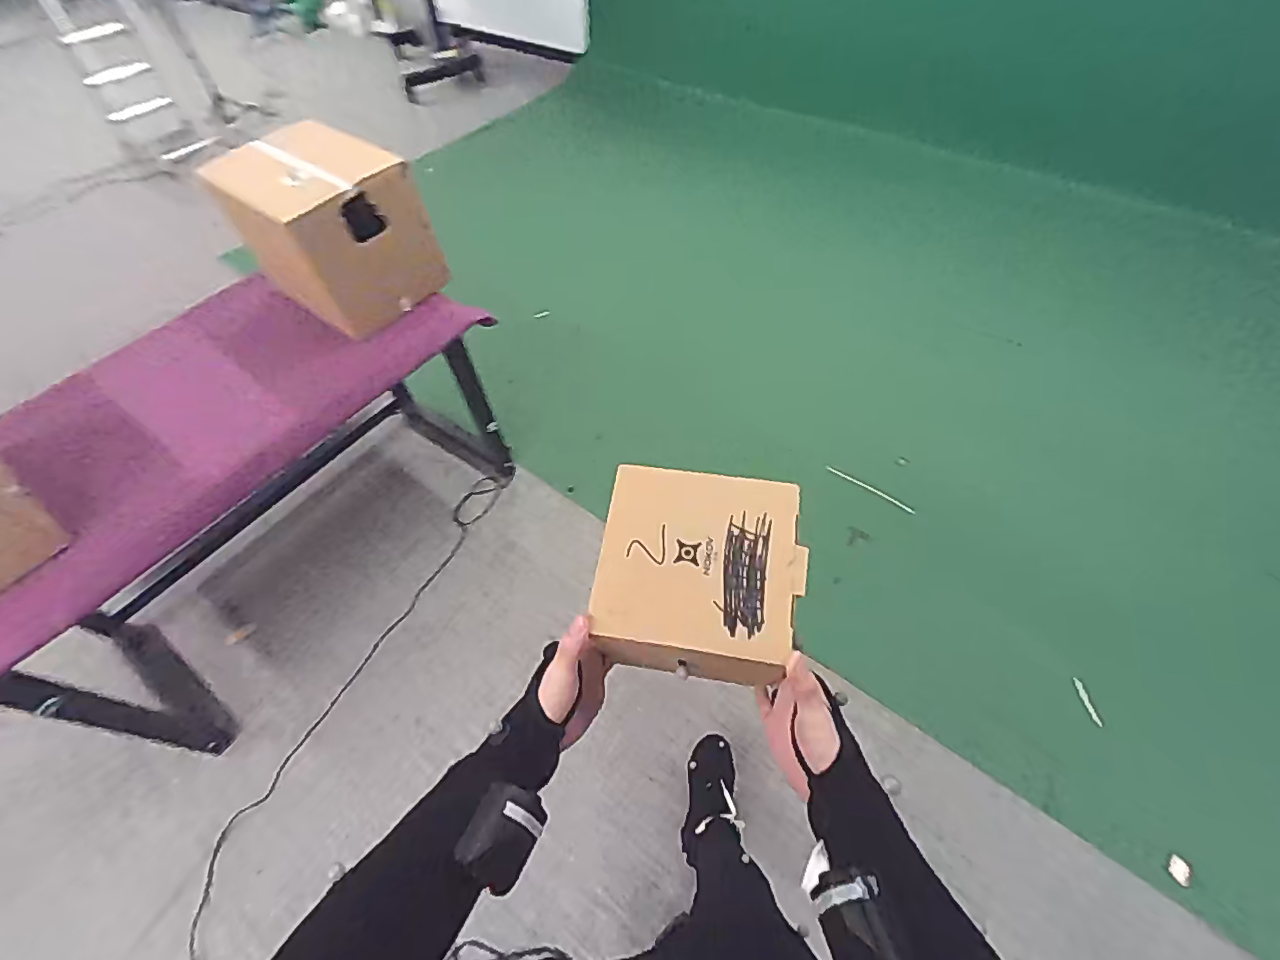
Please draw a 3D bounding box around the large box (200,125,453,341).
[{"bbox_3d":[-0.750,-0.613,1.342,0.408,0.320,0.320,32,64,22],"label":"large box"}]
